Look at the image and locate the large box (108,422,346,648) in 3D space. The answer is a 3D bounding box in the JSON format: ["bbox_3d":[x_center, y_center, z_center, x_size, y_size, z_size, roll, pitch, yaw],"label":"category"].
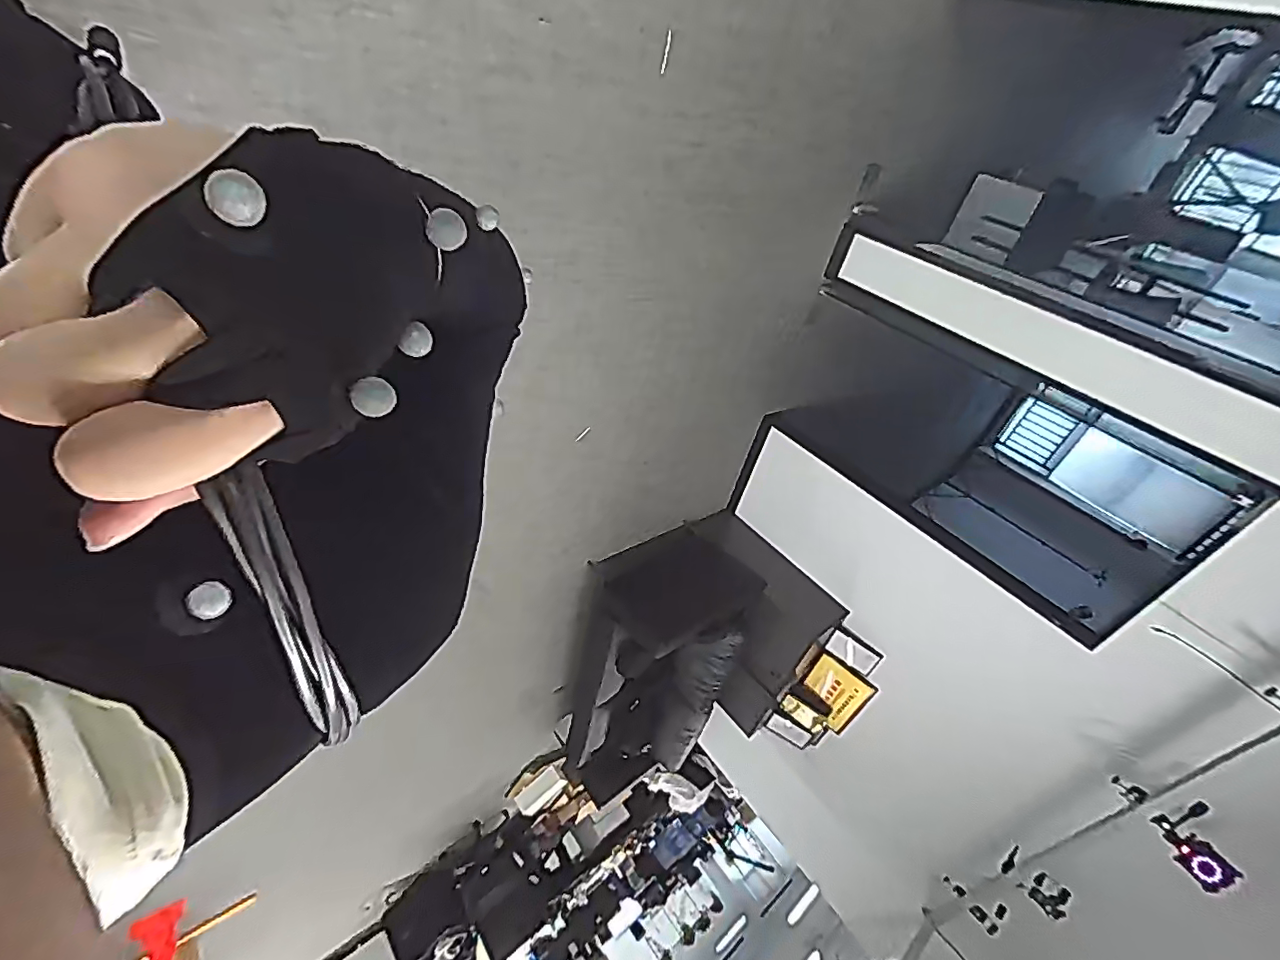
[{"bbox_3d":[-1.008,0.133,1.354,0.320,0.320,0.408,-27,144,-30],"label":"large box"}]
